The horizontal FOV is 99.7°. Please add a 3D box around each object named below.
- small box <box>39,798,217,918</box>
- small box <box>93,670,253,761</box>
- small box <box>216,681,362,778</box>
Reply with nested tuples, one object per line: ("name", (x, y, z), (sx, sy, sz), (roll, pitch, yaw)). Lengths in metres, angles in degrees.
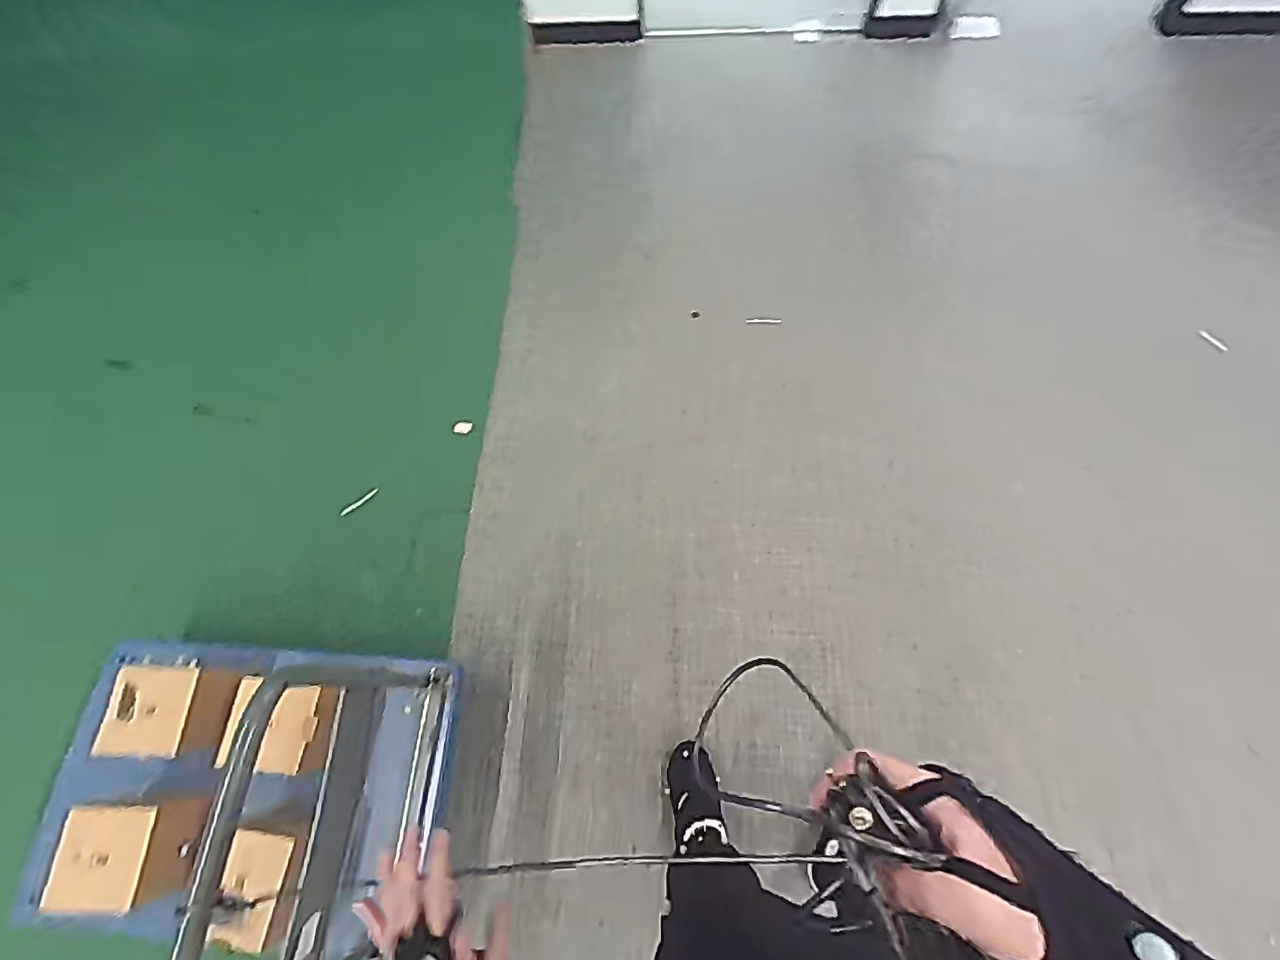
("small box", (-1.009, 0.748, 1.087), (0.179, 0.176, 0.168), (-1, 68, 2))
("small box", (-1.001, 0.509, 1.177), (0.179, 0.176, 0.168), (2, 70, 2))
("small box", (-0.740, 0.530, 1.161), (0.179, 0.176, 0.168), (4, 69, 3))
